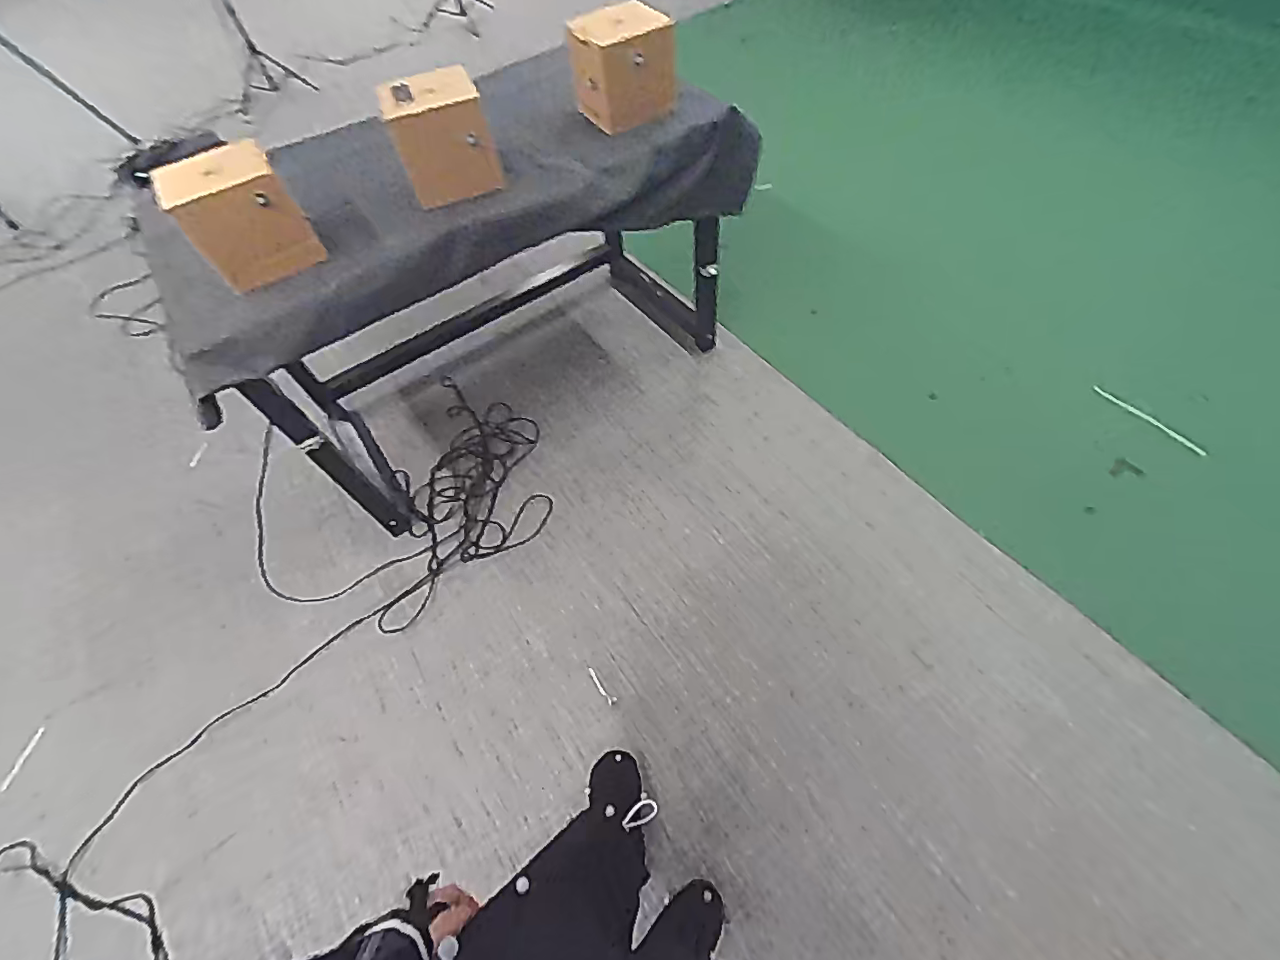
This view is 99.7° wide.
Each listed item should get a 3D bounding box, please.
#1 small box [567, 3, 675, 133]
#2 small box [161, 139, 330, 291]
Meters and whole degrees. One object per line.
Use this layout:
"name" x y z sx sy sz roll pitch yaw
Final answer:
"small box" -0.034 -0.893 1.179 0.179 0.176 0.168 -28 60 -12
"small box" -0.710 -0.476 0.984 0.179 0.176 0.168 -31 59 -14
